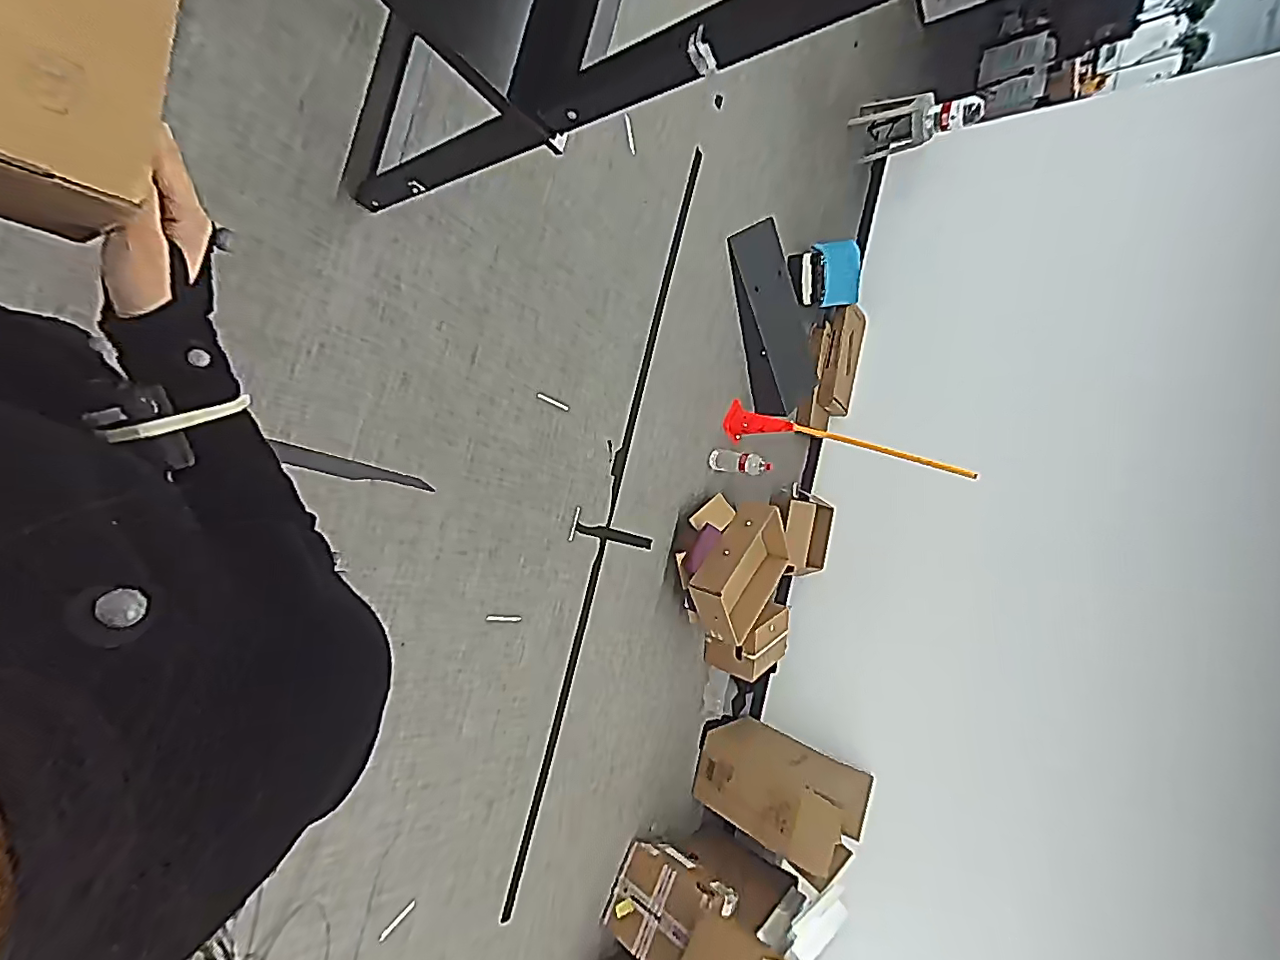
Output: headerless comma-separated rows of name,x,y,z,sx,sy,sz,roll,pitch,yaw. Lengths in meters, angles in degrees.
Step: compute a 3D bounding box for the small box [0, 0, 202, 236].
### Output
small box,-0.324,-0.229,0.241,0.168,0.176,0.179,8,94,-54
